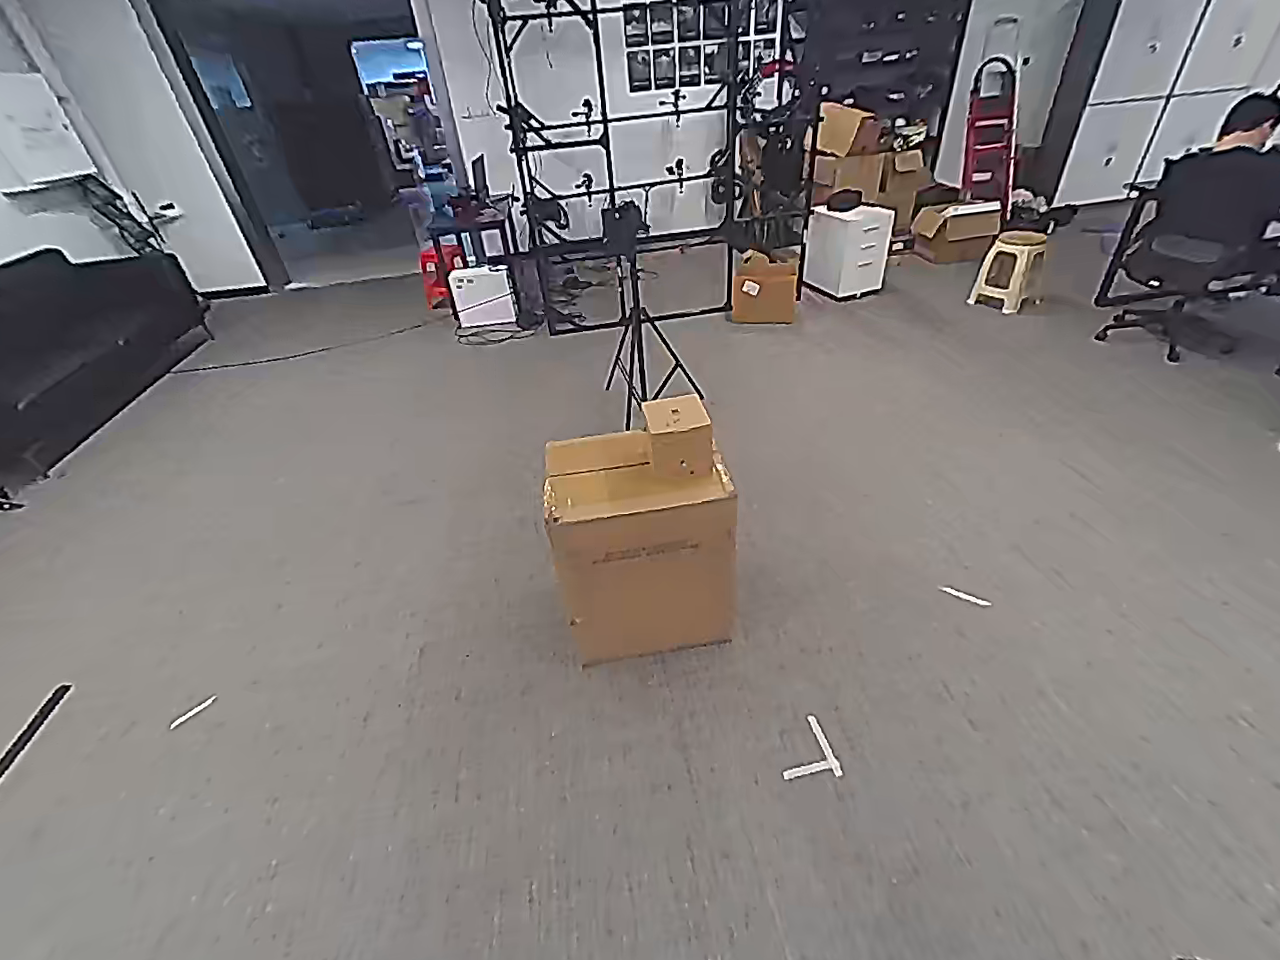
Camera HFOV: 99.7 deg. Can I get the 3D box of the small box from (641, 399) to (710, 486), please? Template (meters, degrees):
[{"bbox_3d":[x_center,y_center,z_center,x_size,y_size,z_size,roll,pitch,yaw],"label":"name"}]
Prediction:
[{"bbox_3d":[0.099,-0.105,1.532,0.168,0.176,0.179,-10,38,-3],"label":"small box"}]
